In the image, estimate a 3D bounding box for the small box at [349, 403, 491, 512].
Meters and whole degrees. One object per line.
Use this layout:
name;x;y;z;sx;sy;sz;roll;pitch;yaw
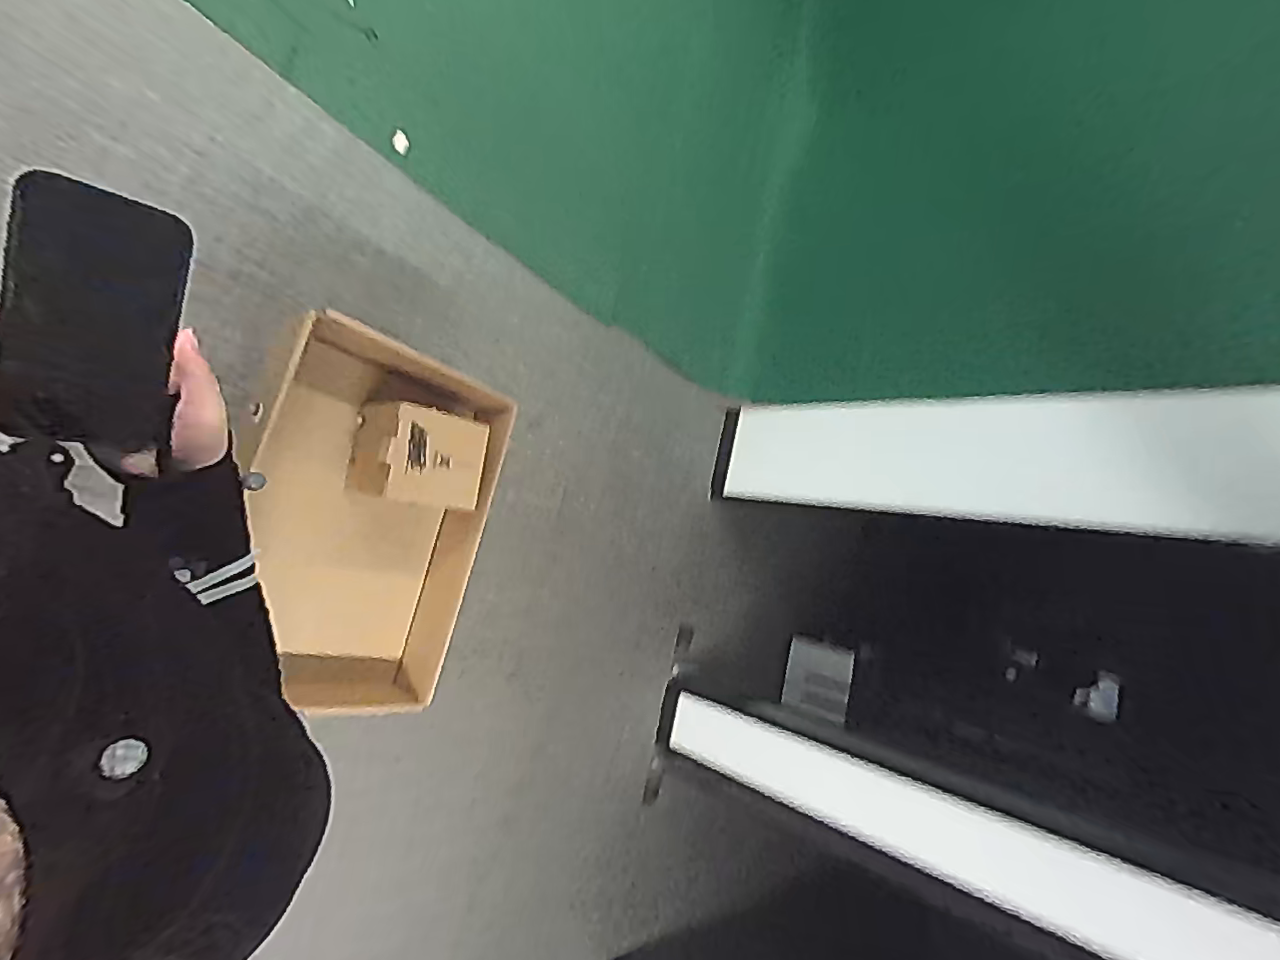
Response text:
small box;-0.411;-0.038;1.007;0.179;0.176;0.168;15;83;-49
